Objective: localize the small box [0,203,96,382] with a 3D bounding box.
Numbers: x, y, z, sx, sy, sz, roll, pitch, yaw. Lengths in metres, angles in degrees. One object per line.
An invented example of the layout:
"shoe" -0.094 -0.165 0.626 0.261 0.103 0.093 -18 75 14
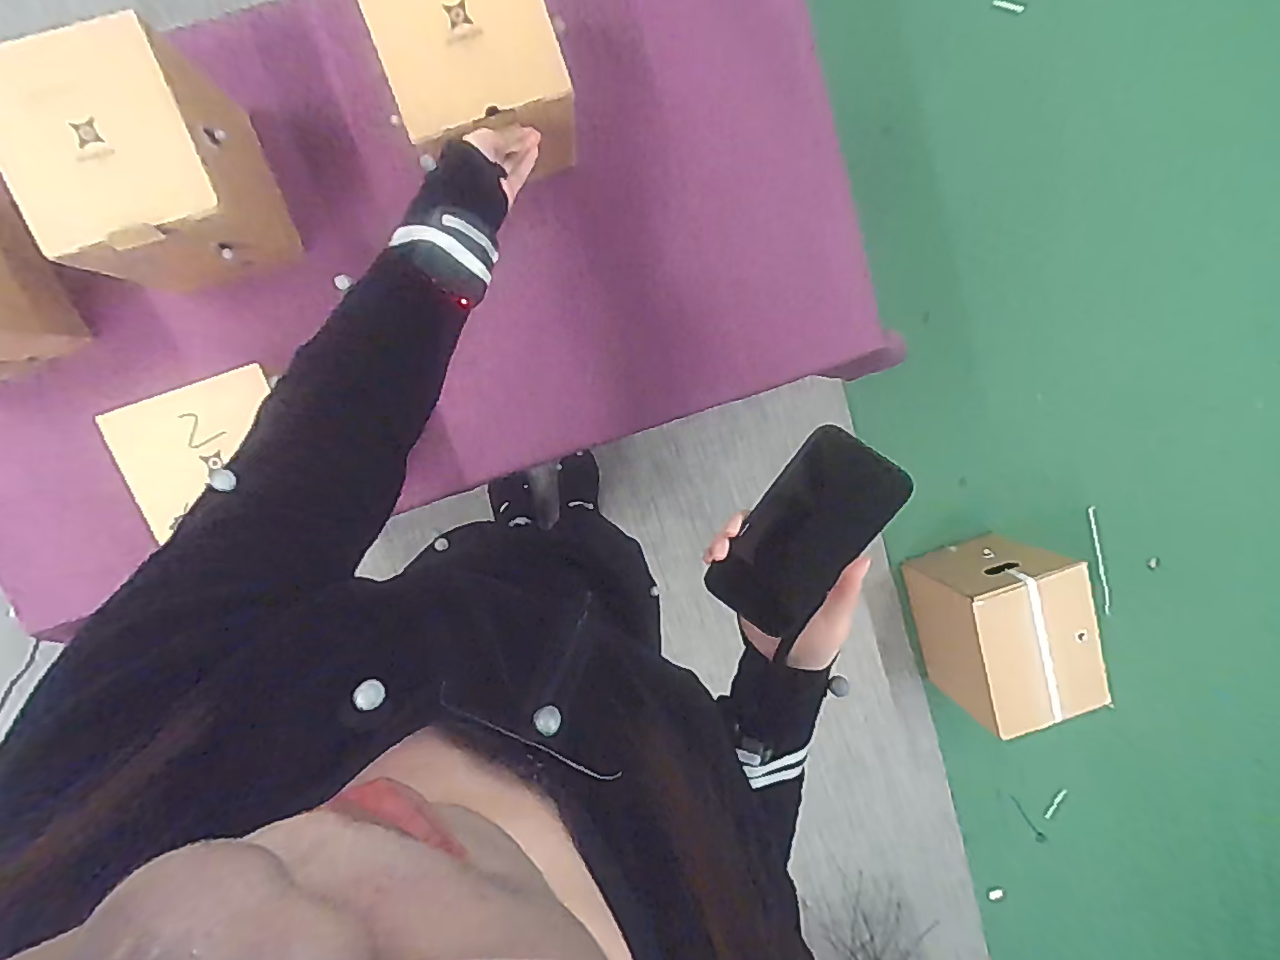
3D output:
"small box" -0.755 -0.205 0.564 0.168 0.176 0.179 -24 101 -1

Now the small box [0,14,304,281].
"small box" -0.500 -0.324 0.572 0.168 0.176 0.179 -19 101 -4

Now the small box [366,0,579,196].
"small box" -0.172 -0.445 0.584 0.168 0.176 0.179 -20 101 -2
